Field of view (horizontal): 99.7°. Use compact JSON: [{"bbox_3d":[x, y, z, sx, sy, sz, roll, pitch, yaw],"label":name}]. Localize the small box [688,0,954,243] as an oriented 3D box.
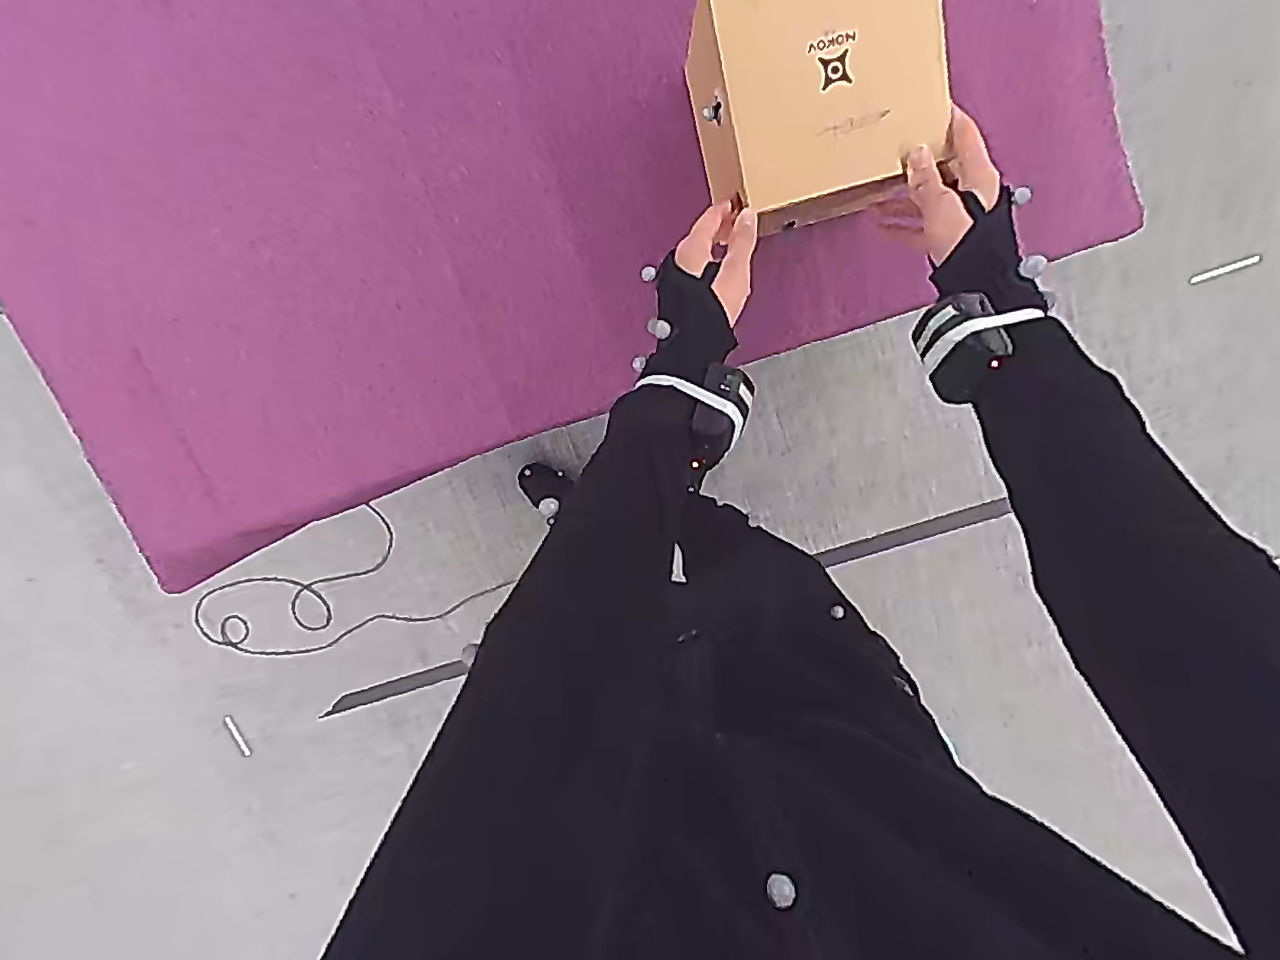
[{"bbox_3d":[0.143,-0.331,0.477,0.168,0.176,0.179,-13,104,4],"label":"small box"}]
